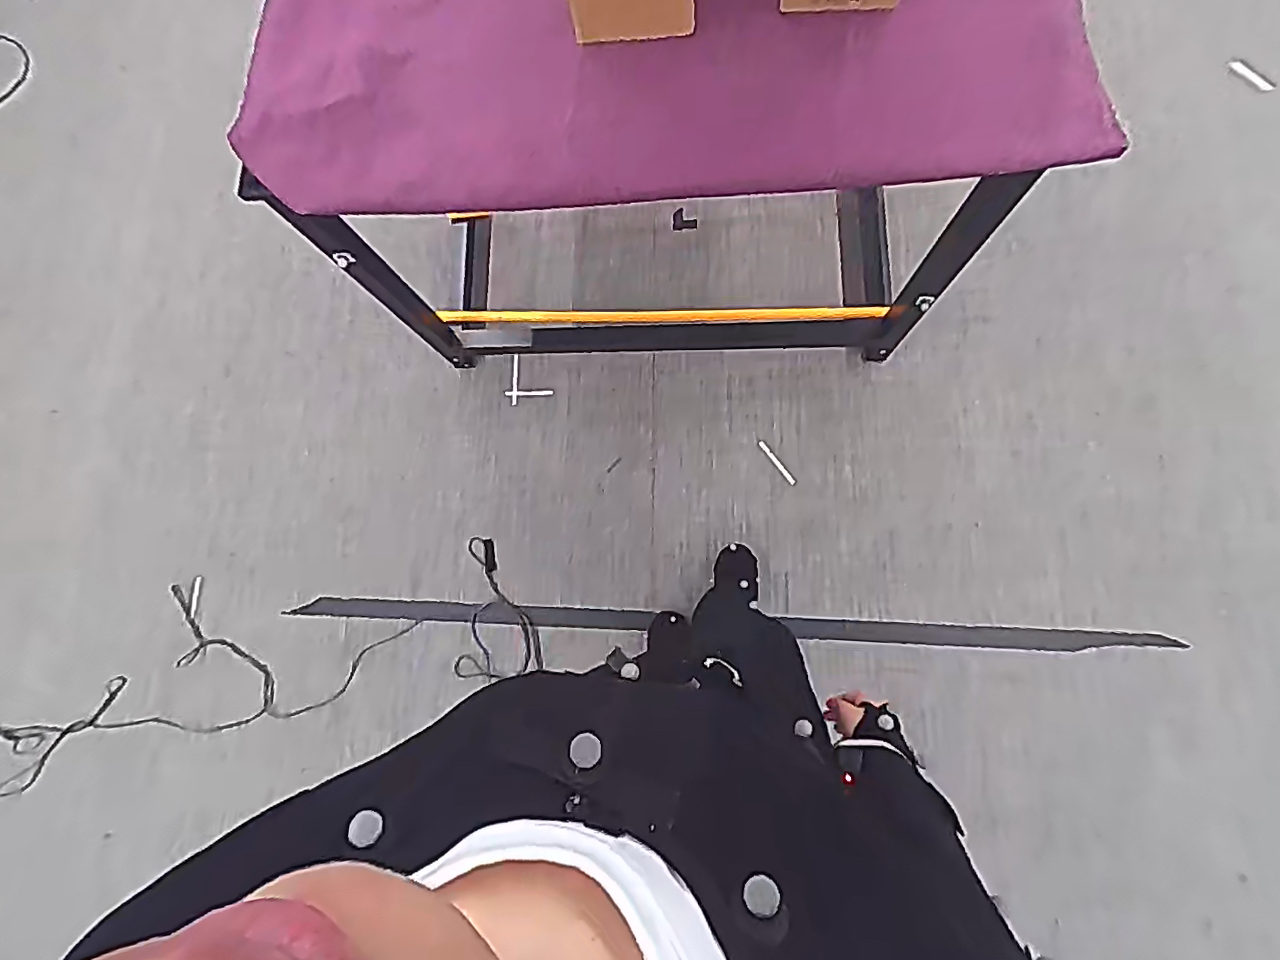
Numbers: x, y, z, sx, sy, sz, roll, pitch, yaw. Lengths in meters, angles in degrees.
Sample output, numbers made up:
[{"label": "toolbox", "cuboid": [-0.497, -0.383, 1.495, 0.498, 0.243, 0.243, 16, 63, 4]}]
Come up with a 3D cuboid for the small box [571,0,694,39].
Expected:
[{"label": "small box", "cuboid": [-0.014, -0.752, 0.743, 0.179, 0.176, 0.168, 0, 79, 5]}]

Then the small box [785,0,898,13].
[{"label": "small box", "cuboid": [0.287, -0.776, 0.717, 0.168, 0.176, 0.179, 4, 81, 6]}]
